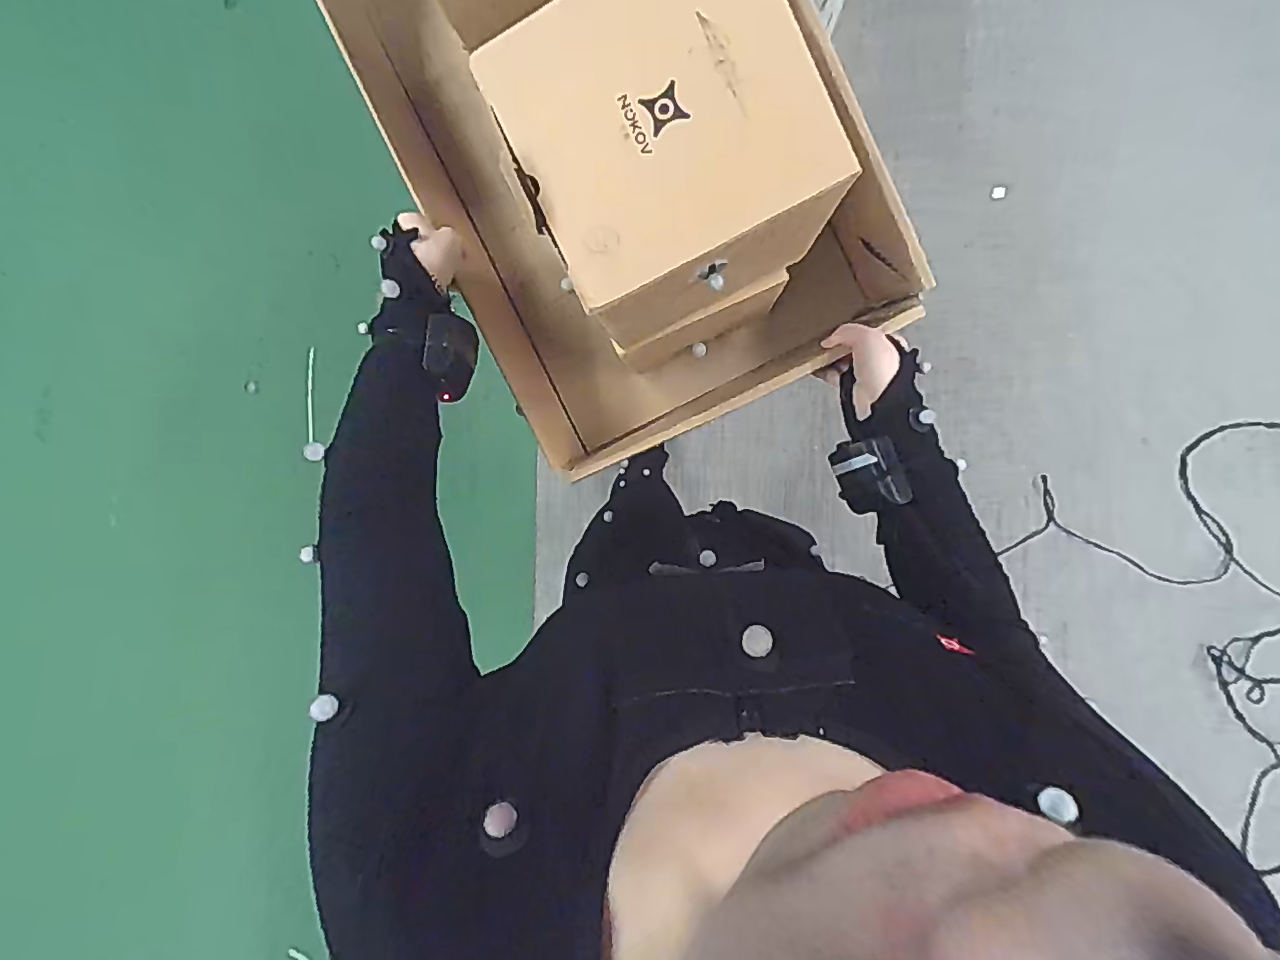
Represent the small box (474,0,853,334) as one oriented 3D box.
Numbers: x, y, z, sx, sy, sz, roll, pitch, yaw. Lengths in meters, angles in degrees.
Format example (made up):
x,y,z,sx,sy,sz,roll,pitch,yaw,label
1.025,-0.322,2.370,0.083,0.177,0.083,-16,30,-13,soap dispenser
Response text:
x,y,z,sx,sy,sz,roll,pitch,yaw,label
0.019,-0.224,0.391,0.179,0.176,0.168,-25,94,7,small box
